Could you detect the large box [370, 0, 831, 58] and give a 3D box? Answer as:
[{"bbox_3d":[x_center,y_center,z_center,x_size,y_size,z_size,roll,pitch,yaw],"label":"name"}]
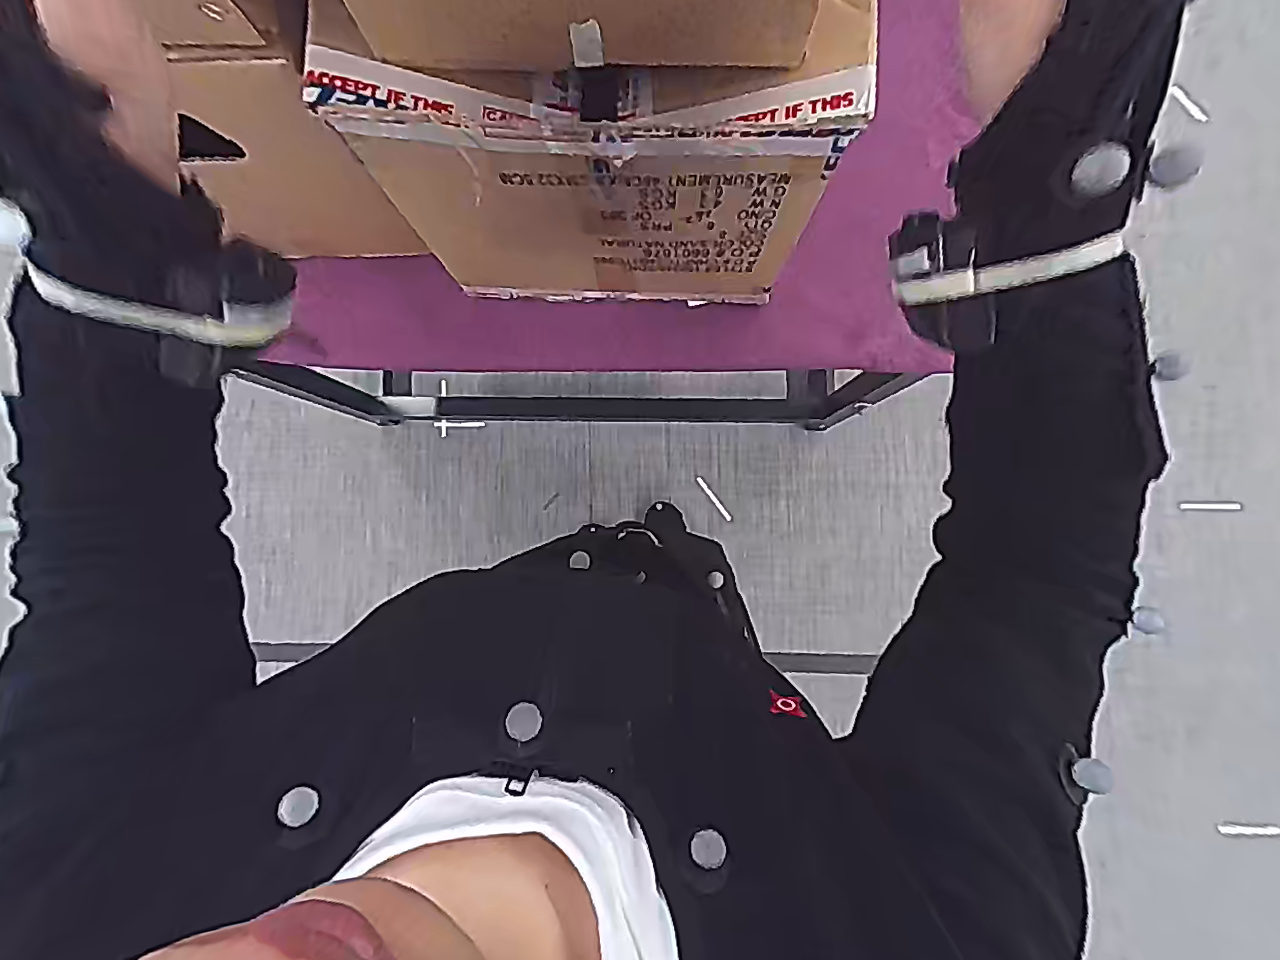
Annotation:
[{"bbox_3d":[-0.027,-0.511,0.252,0.320,0.320,0.408,0,87,1],"label":"large box"}]
